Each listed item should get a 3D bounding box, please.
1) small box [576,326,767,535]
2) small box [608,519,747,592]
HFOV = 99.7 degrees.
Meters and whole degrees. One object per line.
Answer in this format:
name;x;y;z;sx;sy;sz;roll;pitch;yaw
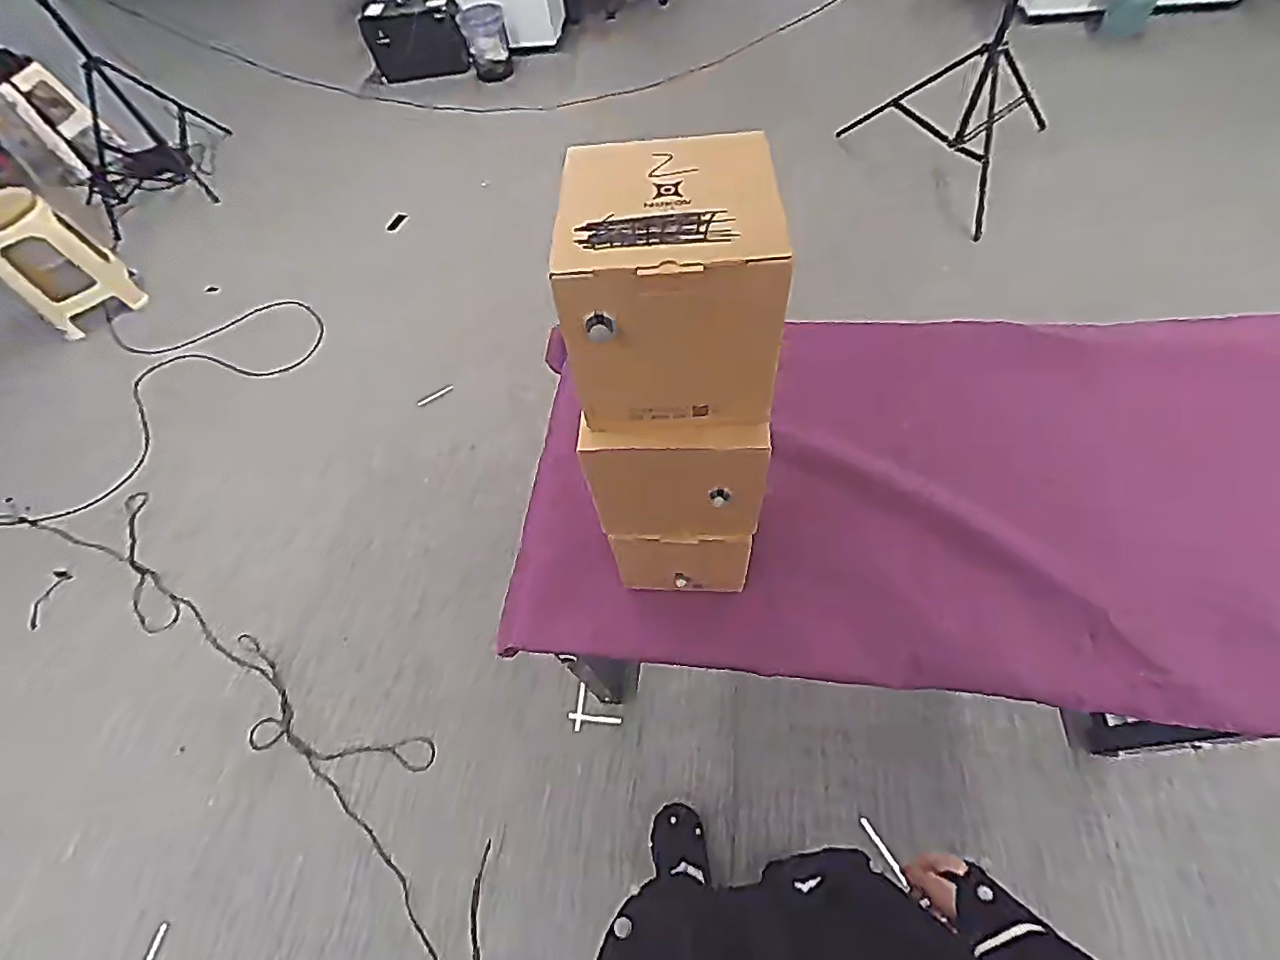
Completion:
small box;0.038;-0.048;0.597;0.179;0.176;0.168;-1;57;6
small box;0.054;0.038;0.734;0.168;0.176;0.179;0;59;7
